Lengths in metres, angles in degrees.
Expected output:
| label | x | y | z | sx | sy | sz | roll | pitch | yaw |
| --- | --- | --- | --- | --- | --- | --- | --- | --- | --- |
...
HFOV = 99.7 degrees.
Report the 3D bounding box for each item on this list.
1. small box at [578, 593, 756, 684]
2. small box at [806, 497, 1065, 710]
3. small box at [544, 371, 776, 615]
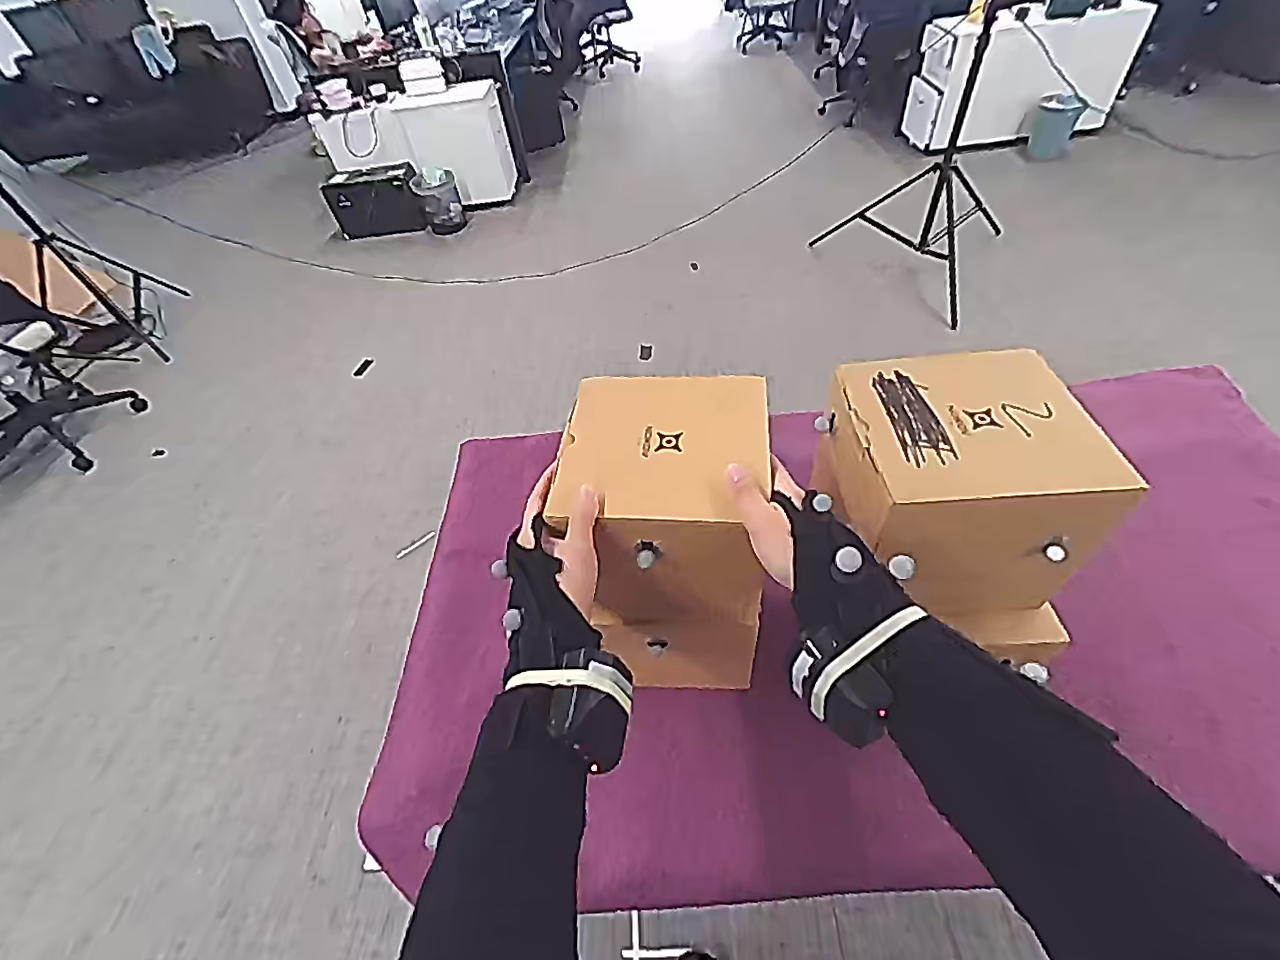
| label | x | y | z | sx | sy | sz | roll | pitch | yaw |
| --- | --- | --- | --- | --- | --- | --- | --- | --- | --- |
| small box | 0.037 | 0.126 | 0.629 | 0.179 | 0.176 | 0.168 | -1 | 49 | 6 |
| small box | 0.293 | 0.137 | 0.587 | 0.179 | 0.176 | 0.168 | -4 | 47 | 4 |
| small box | 0.029 | 0.015 | 0.511 | 0.179 | 0.176 | 0.168 | 1 | 49 | 9 |
